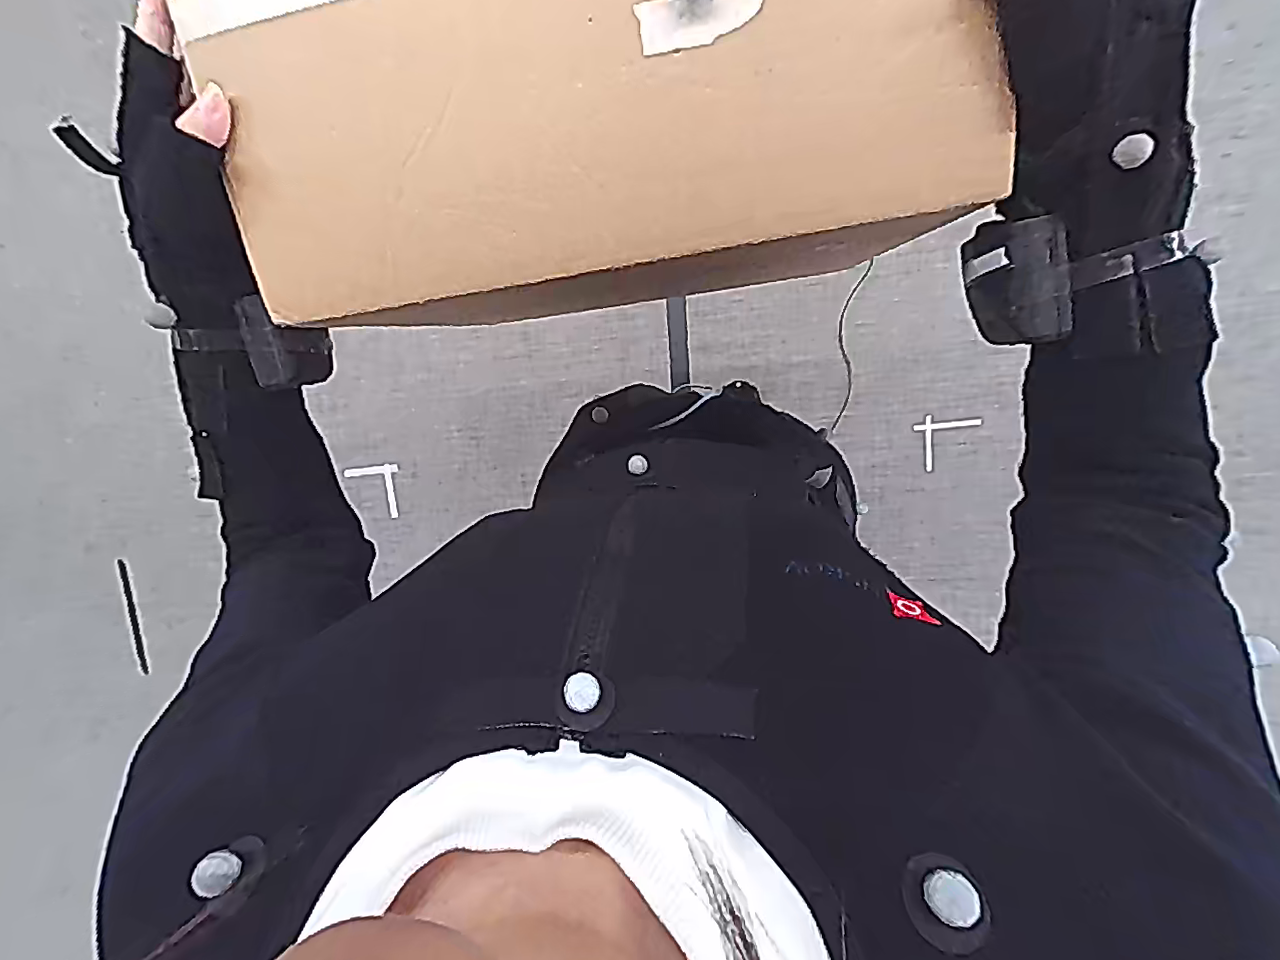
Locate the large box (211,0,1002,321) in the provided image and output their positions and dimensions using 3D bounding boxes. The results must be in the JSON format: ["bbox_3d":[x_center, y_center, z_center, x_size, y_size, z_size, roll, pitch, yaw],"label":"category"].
[{"bbox_3d":[-0.021,-0.312,0.407,0.408,0.320,0.320,-7,105,9],"label":"large box"}]
